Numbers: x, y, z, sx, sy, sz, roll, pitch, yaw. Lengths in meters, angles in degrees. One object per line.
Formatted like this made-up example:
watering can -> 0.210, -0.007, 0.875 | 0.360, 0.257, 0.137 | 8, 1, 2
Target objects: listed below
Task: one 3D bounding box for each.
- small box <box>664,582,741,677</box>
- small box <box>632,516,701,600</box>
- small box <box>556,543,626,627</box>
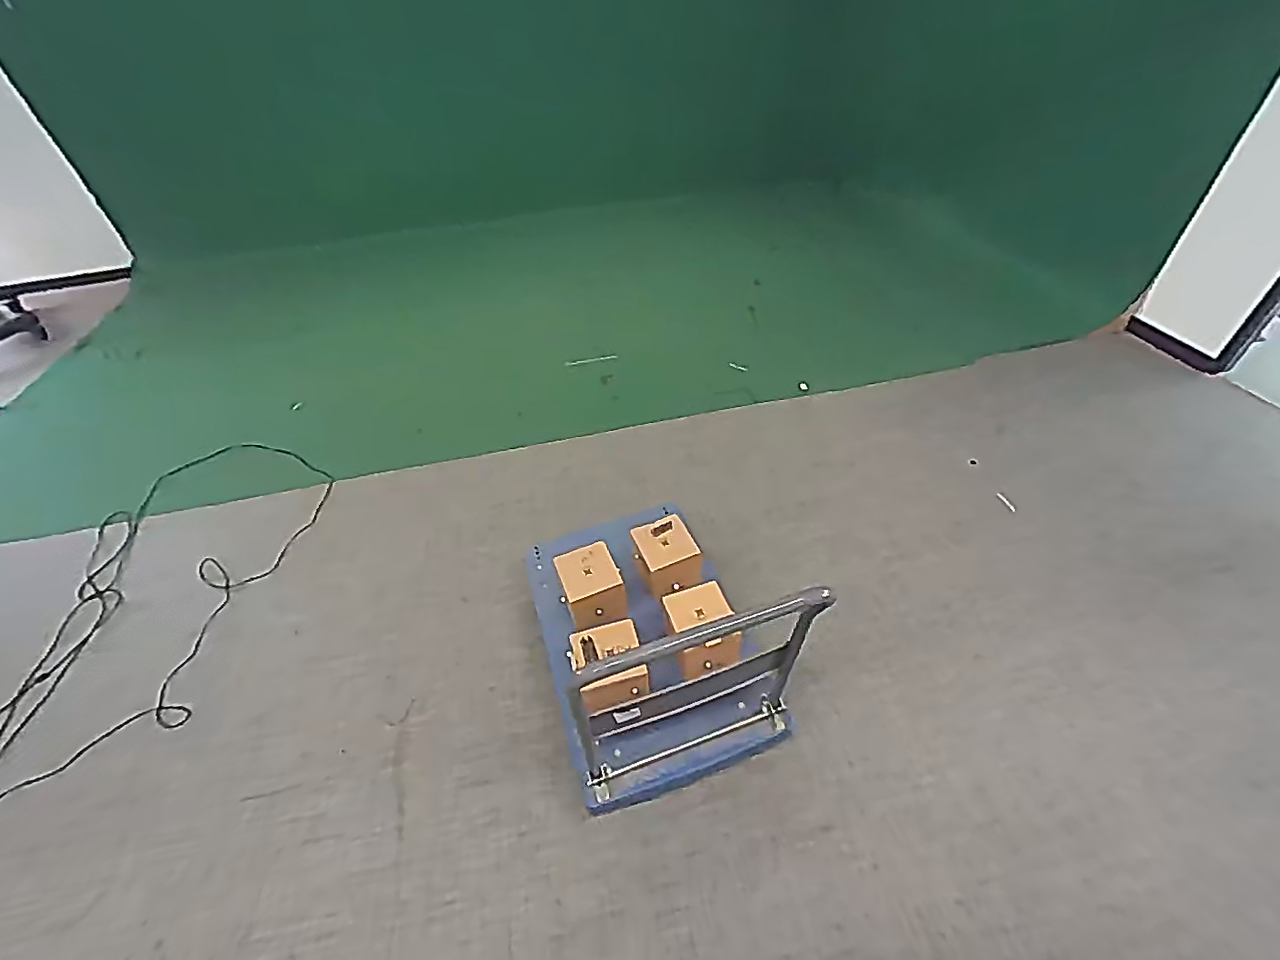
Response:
small box -> 0.172, 0.427, 1.545 | 0.168, 0.176, 0.179 | -15, 46, -11
small box -> 0.083, 0.251, 1.730 | 0.168, 0.176, 0.179 | -19, 47, -13
small box -> -0.148, 0.330, 1.670 | 0.168, 0.176, 0.179 | -18, 46, -14
